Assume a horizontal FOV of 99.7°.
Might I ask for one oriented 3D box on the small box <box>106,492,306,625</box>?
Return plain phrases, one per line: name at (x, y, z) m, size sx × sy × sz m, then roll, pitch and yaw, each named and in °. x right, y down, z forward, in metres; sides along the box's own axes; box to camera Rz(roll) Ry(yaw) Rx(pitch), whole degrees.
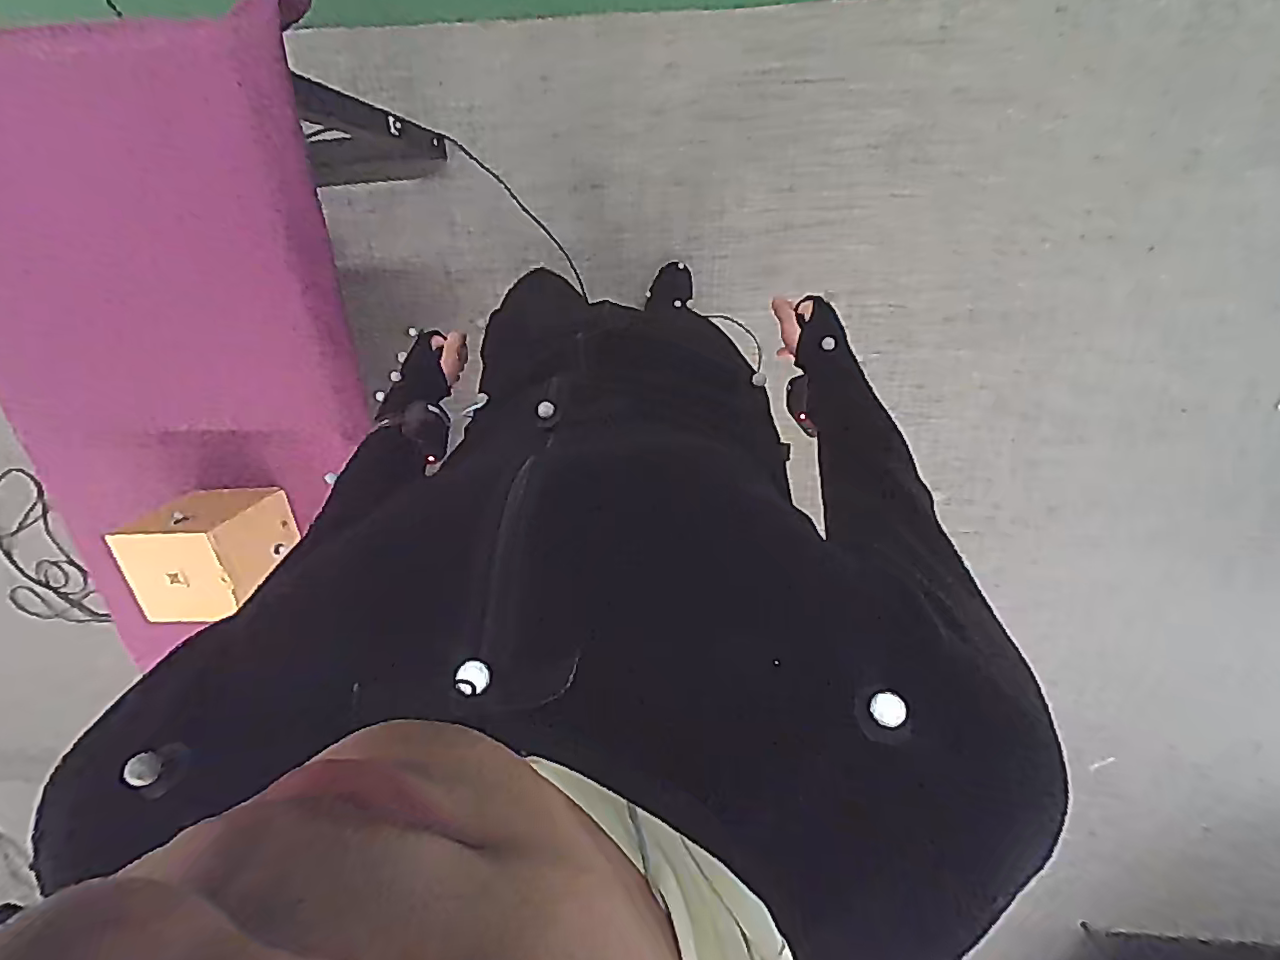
small box at (-0.722, 0.128, 0.922) m, size 0.179 × 0.176 × 0.168 m, roll -2°, pitch 113°, yaw 5°
